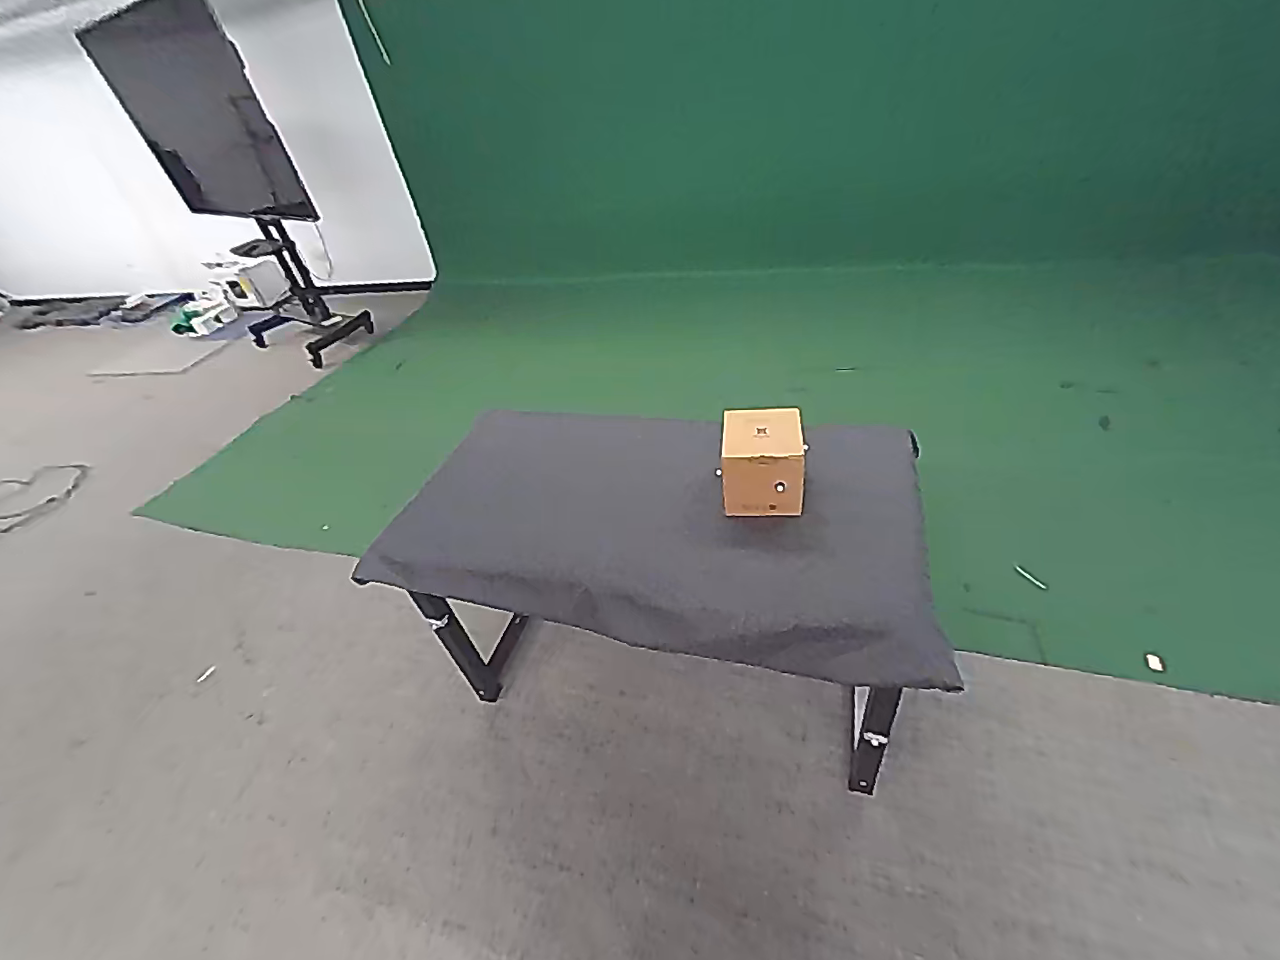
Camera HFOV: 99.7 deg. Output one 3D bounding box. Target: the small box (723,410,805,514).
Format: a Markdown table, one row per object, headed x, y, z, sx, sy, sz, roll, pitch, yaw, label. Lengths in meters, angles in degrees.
| x | y | z | sx | sy | sz | roll | pitch | yaw | label |
| --- | --- | --- | --- | --- | --- | --- | --- | --- | --- |
| 0.273 | -0.039 | 1.204 | 0.168 | 0.176 | 0.179 | 1 | 39 | 10 | small box |
